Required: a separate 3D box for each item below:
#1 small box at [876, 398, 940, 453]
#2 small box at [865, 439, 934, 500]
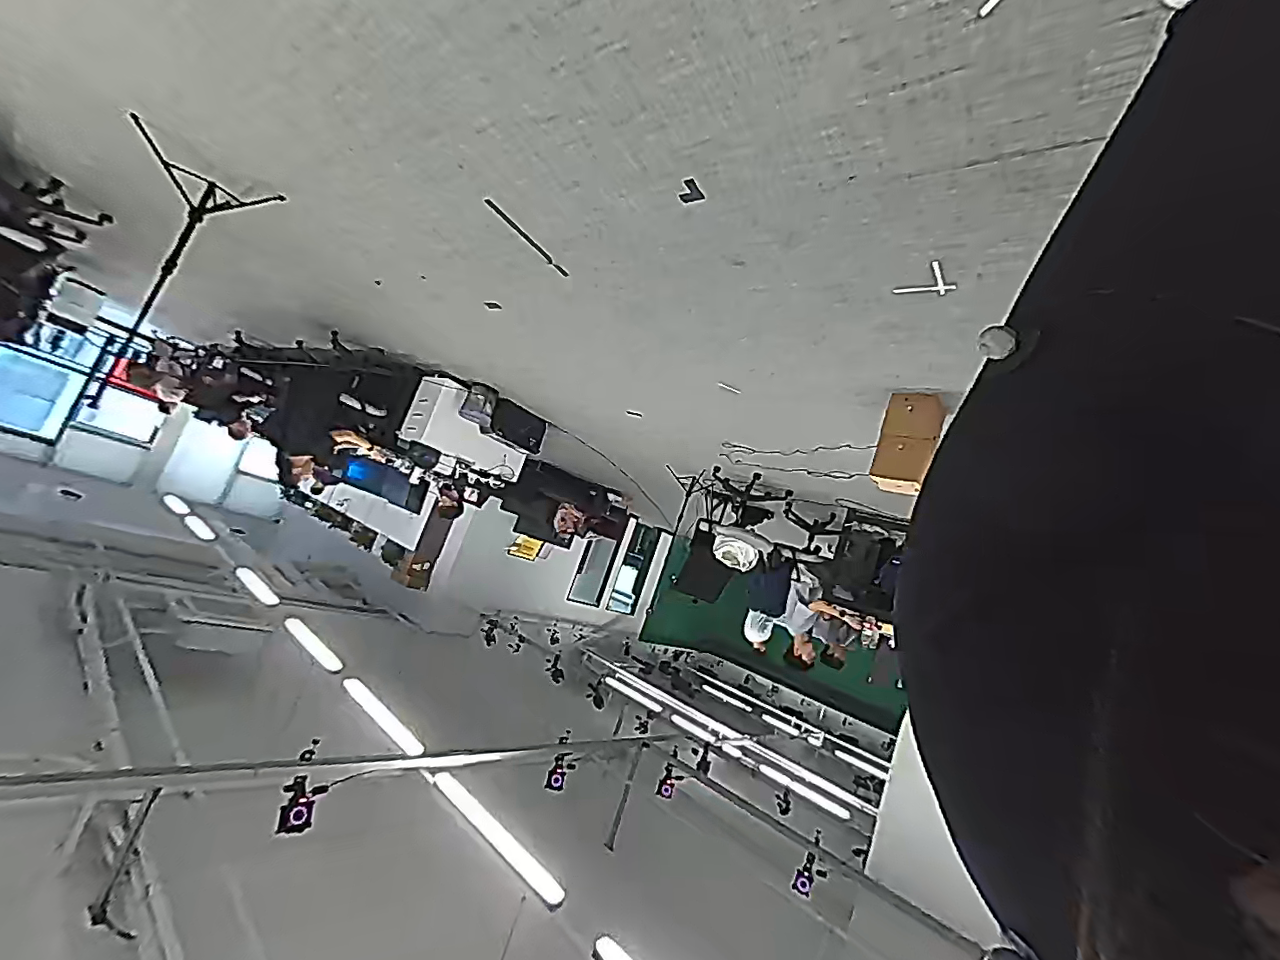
[{"bbox_3d":[1.029,-0.198,2.063,0.168,0.176,0.179,12,168,41],"label":"small box"},{"bbox_3d":[0.980,-0.043,2.037,0.179,0.176,0.168,13,170,41],"label":"small box"}]
